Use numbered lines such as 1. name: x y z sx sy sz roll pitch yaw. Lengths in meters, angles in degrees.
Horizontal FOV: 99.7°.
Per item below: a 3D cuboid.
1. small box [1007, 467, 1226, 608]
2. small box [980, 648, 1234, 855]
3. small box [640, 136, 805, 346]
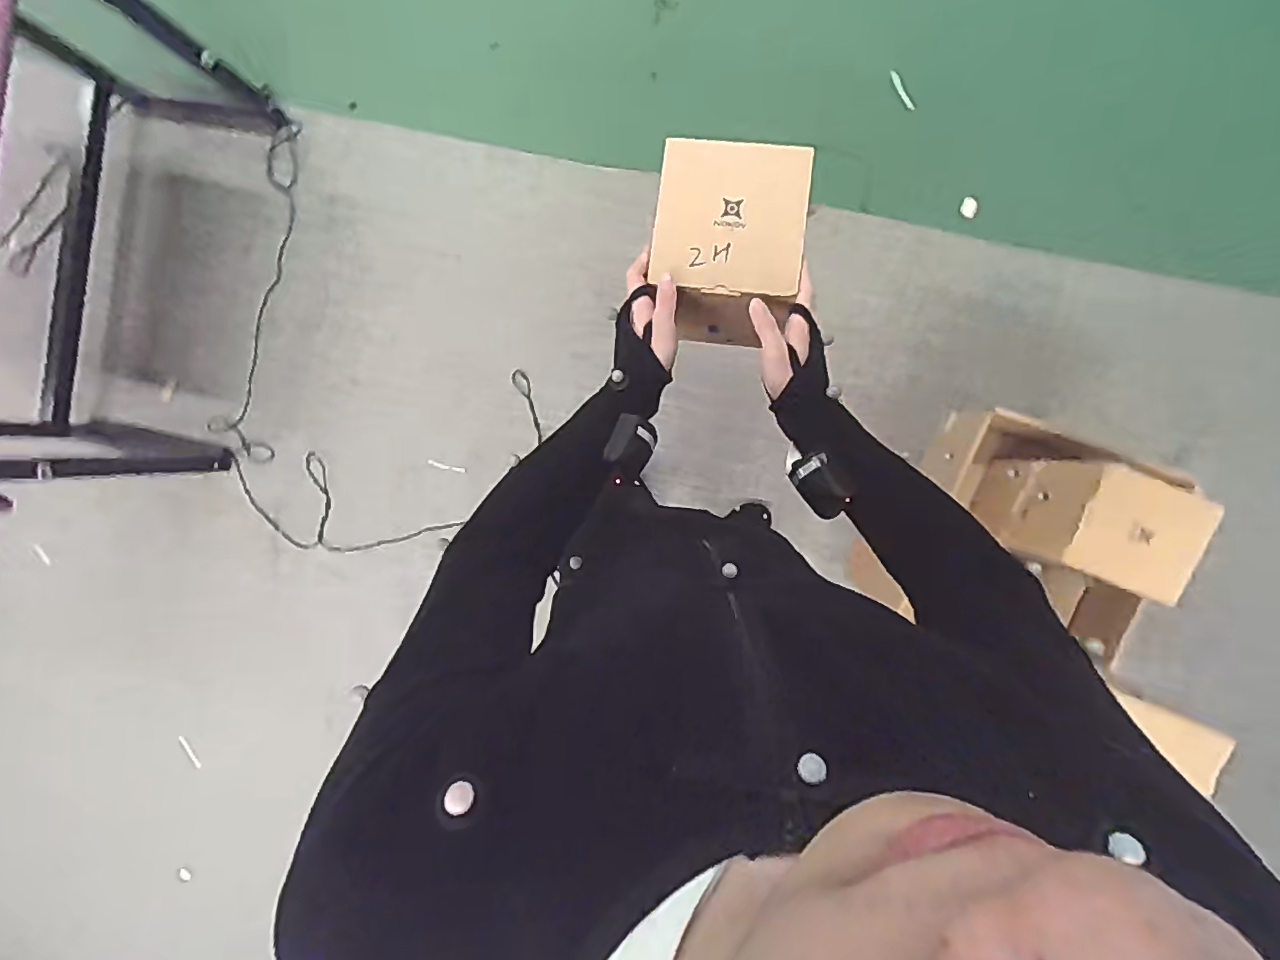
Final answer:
1. small box: 0.764 0.081 0.891 0.179 0.176 0.168 23 96 6
2. small box: 0.630 0.361 0.756 0.179 0.176 0.168 23 94 5
3. small box: 0.097 -0.285 0.671 0.168 0.176 0.179 6 86 6
